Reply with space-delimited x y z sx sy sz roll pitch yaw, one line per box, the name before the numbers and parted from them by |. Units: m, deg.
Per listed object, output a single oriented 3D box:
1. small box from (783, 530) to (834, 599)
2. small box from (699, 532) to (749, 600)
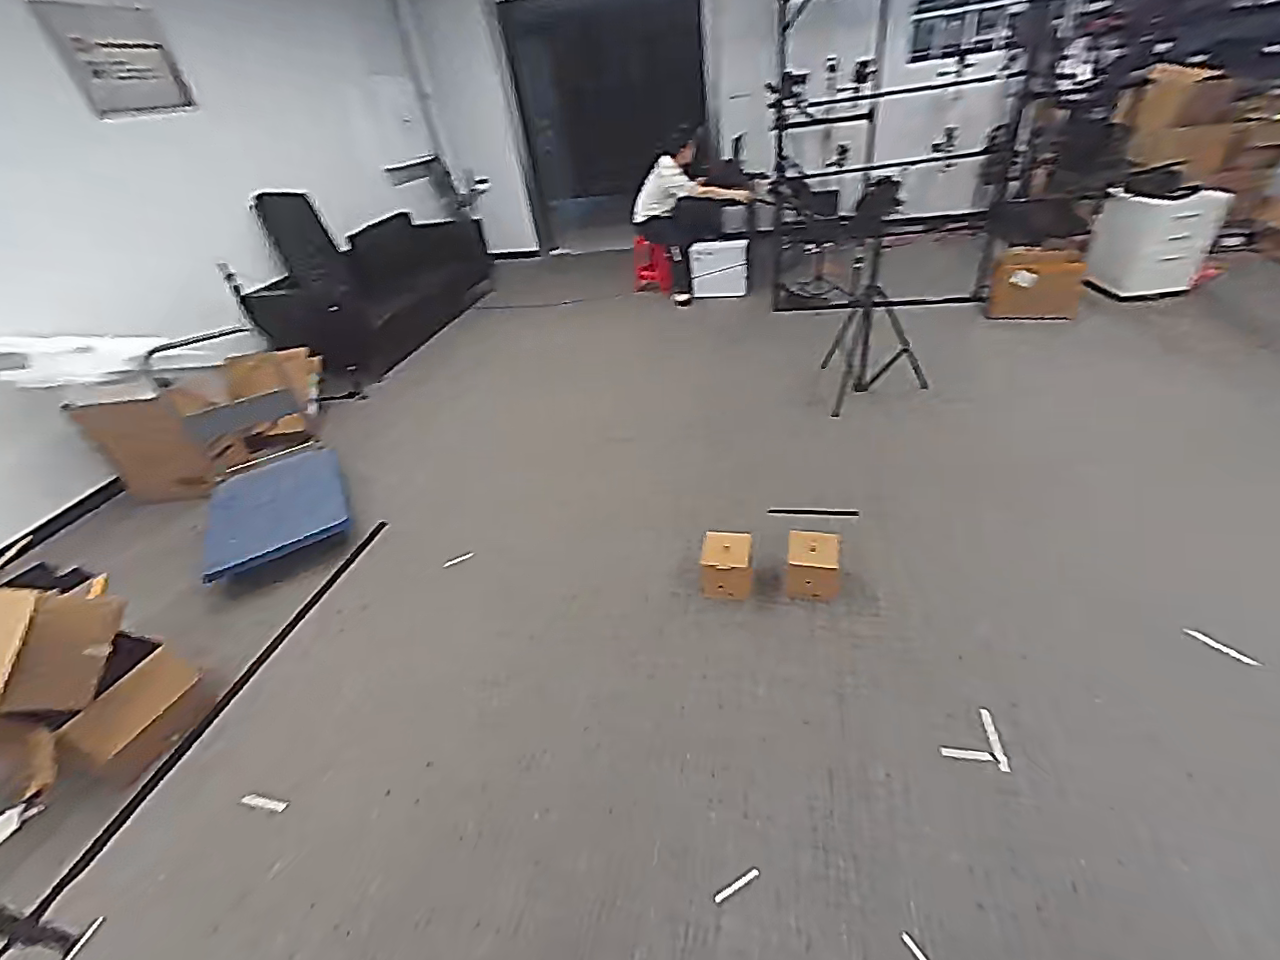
small box | 0.607 0.304 1.944 0.168 0.176 0.179 4 37 17
small box | 0.315 0.316 1.999 0.168 0.176 0.179 1 37 15
